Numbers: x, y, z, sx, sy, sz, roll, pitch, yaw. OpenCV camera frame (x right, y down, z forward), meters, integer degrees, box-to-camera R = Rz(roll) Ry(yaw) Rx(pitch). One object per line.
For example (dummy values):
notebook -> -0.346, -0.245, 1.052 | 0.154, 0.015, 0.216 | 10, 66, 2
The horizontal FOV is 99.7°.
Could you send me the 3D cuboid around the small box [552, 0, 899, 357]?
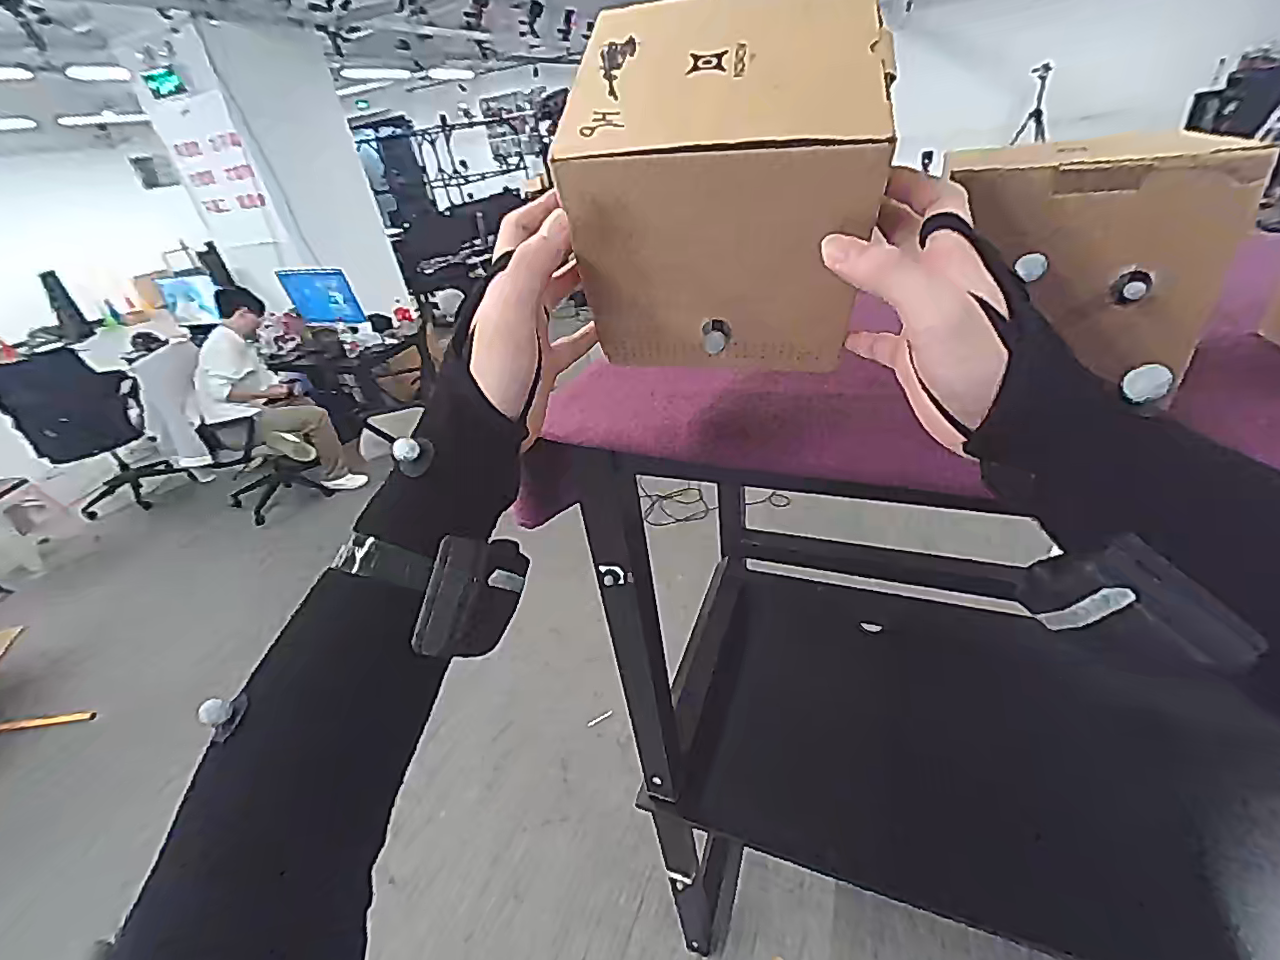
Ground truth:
small box -> 0.060, -0.203, 0.376 | 0.179, 0.176, 0.168 | 5, 61, 11
